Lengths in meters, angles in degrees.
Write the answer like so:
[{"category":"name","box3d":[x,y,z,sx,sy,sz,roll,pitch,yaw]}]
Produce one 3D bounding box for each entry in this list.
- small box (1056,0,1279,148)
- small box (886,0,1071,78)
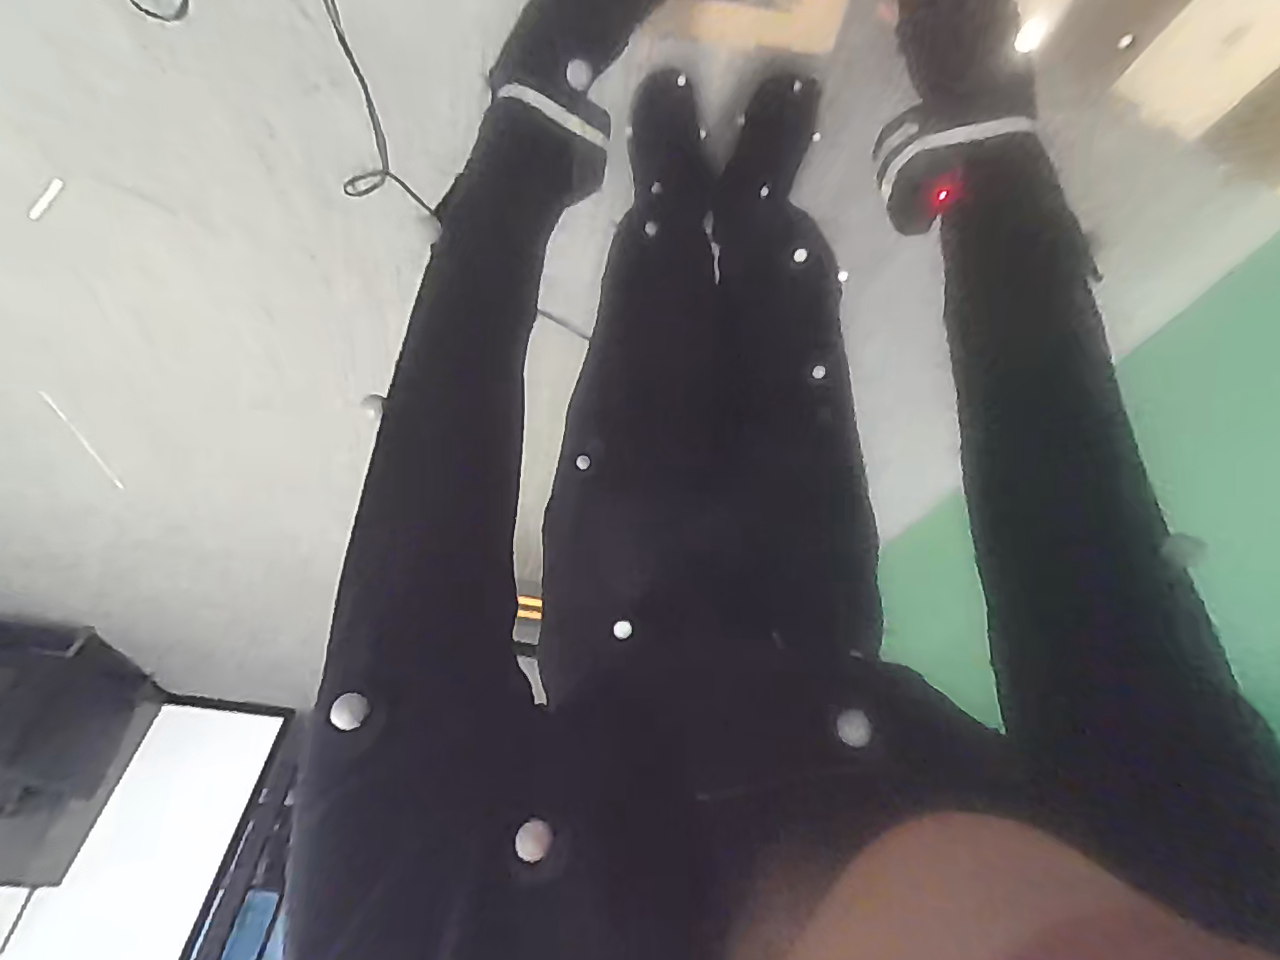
[{"category":"small box","box3d":[0.705,-0.586,0.703,0.168,0.176,0.179,17,140,-16]},{"category":"small box","box3d":[0.428,-0.639,0.658,0.168,0.176,0.179,12,142,-8]}]
